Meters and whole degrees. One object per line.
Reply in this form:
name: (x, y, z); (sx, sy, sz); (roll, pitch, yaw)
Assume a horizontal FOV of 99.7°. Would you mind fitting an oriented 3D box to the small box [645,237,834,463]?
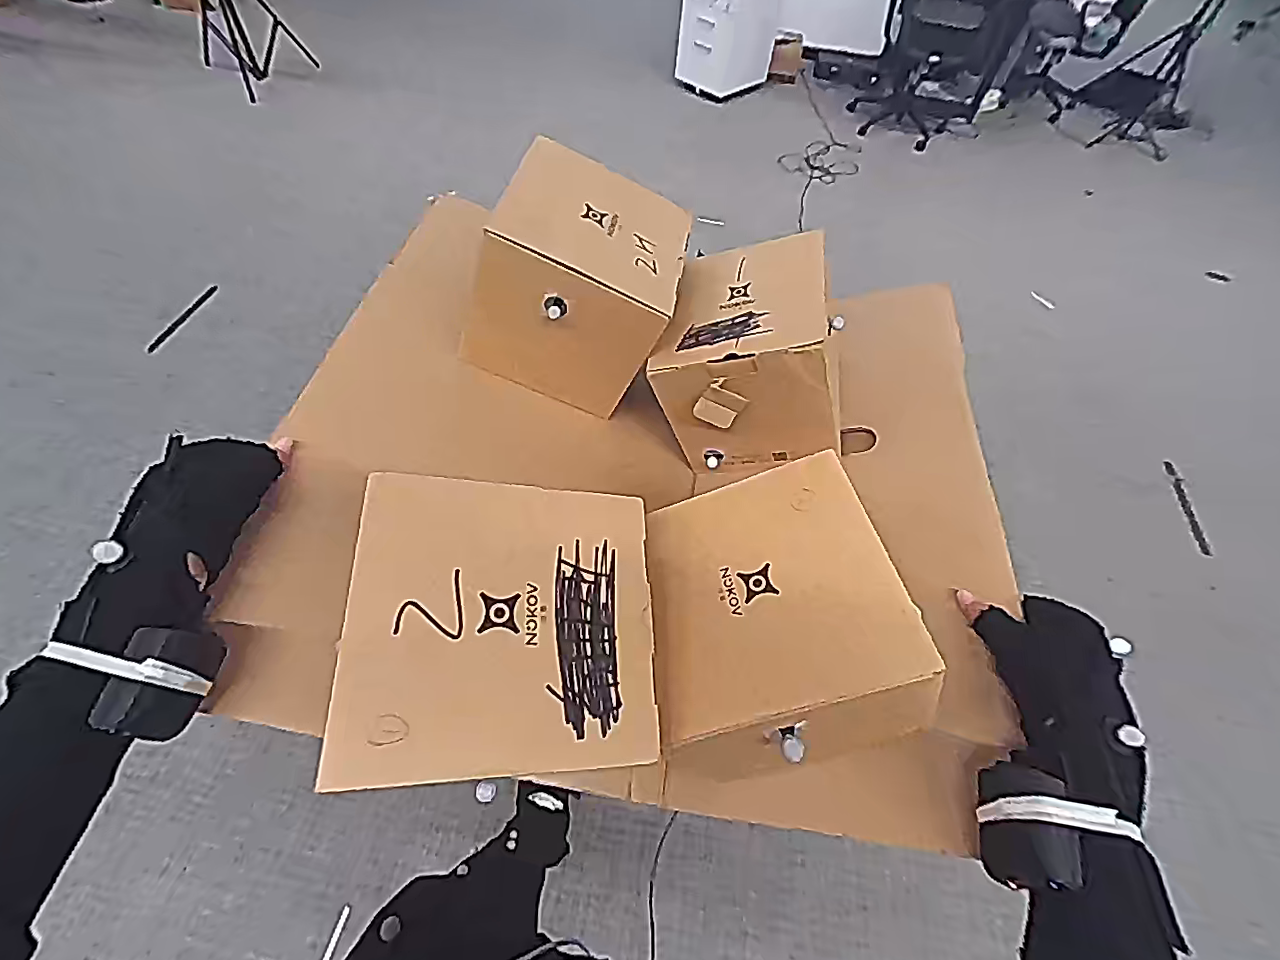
small box: (0.123, -0.131, 0.603); (0.168, 0.176, 0.179); (-3, 53, 23)
